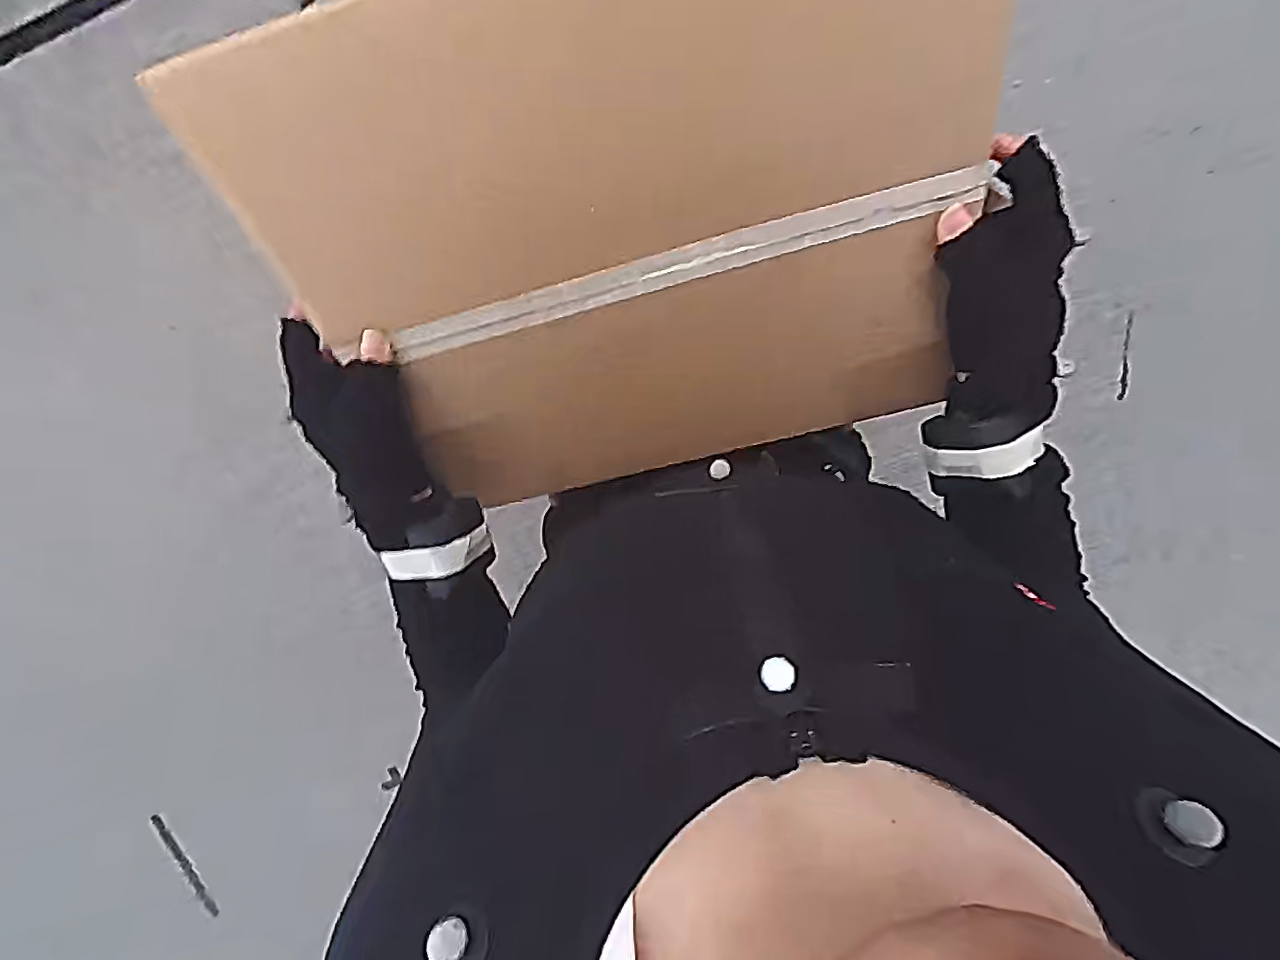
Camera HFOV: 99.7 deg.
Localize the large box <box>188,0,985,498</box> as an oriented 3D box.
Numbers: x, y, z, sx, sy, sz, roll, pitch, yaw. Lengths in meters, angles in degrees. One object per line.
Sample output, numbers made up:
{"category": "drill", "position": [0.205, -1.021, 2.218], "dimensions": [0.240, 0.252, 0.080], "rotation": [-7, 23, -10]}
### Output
{"category": "large box", "position": [-0.013, -0.234, 0.453], "dimensions": [0.408, 0.320, 0.320], "rotation": [-13, 133, 7]}
